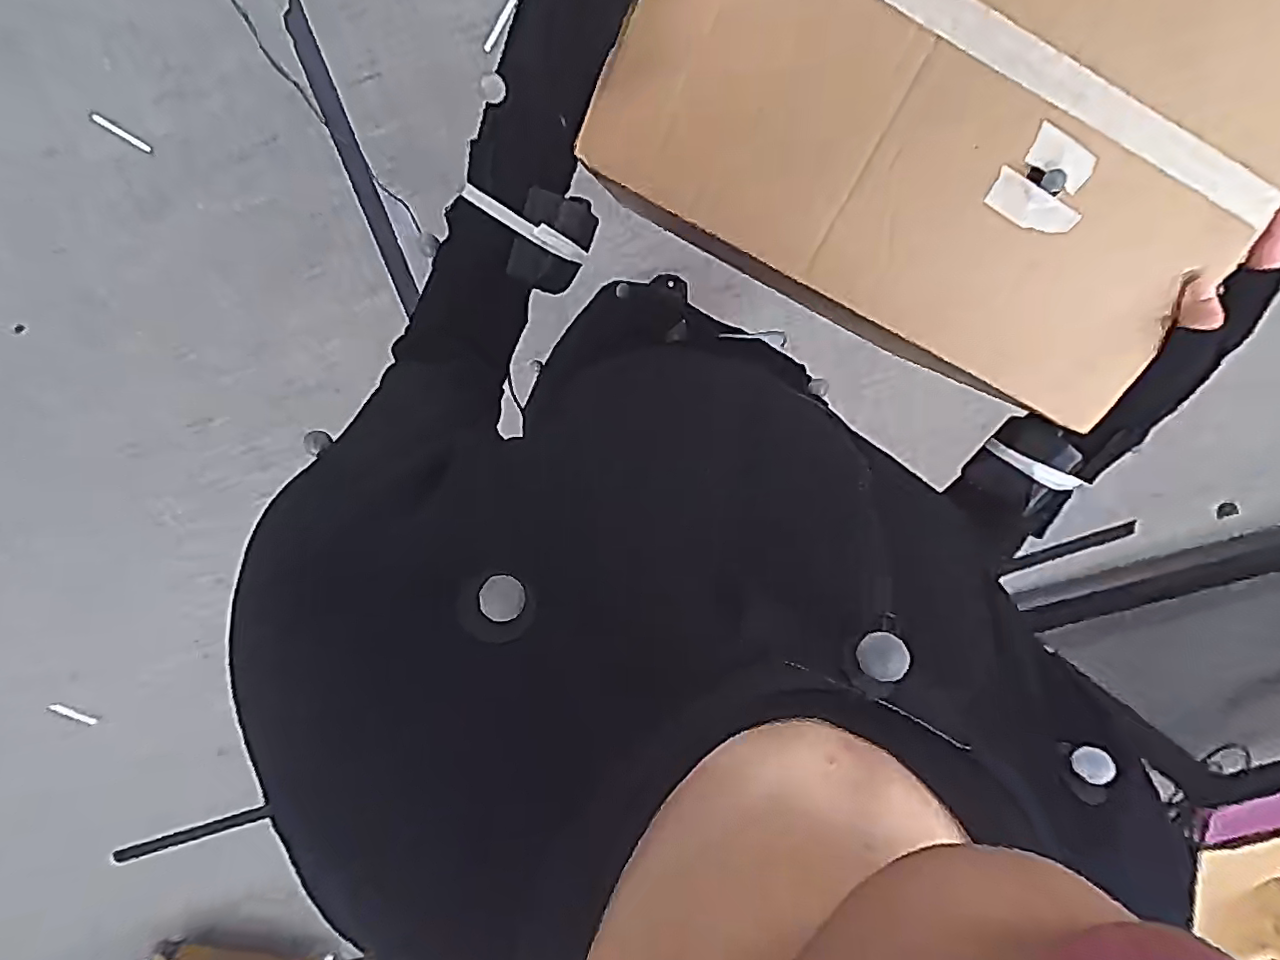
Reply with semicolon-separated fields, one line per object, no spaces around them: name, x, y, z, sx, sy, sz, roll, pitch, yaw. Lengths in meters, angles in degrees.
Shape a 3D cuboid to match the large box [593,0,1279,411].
large box;0.213;-0.313;0.460;0.408;0.320;0.320;26;112;-8
